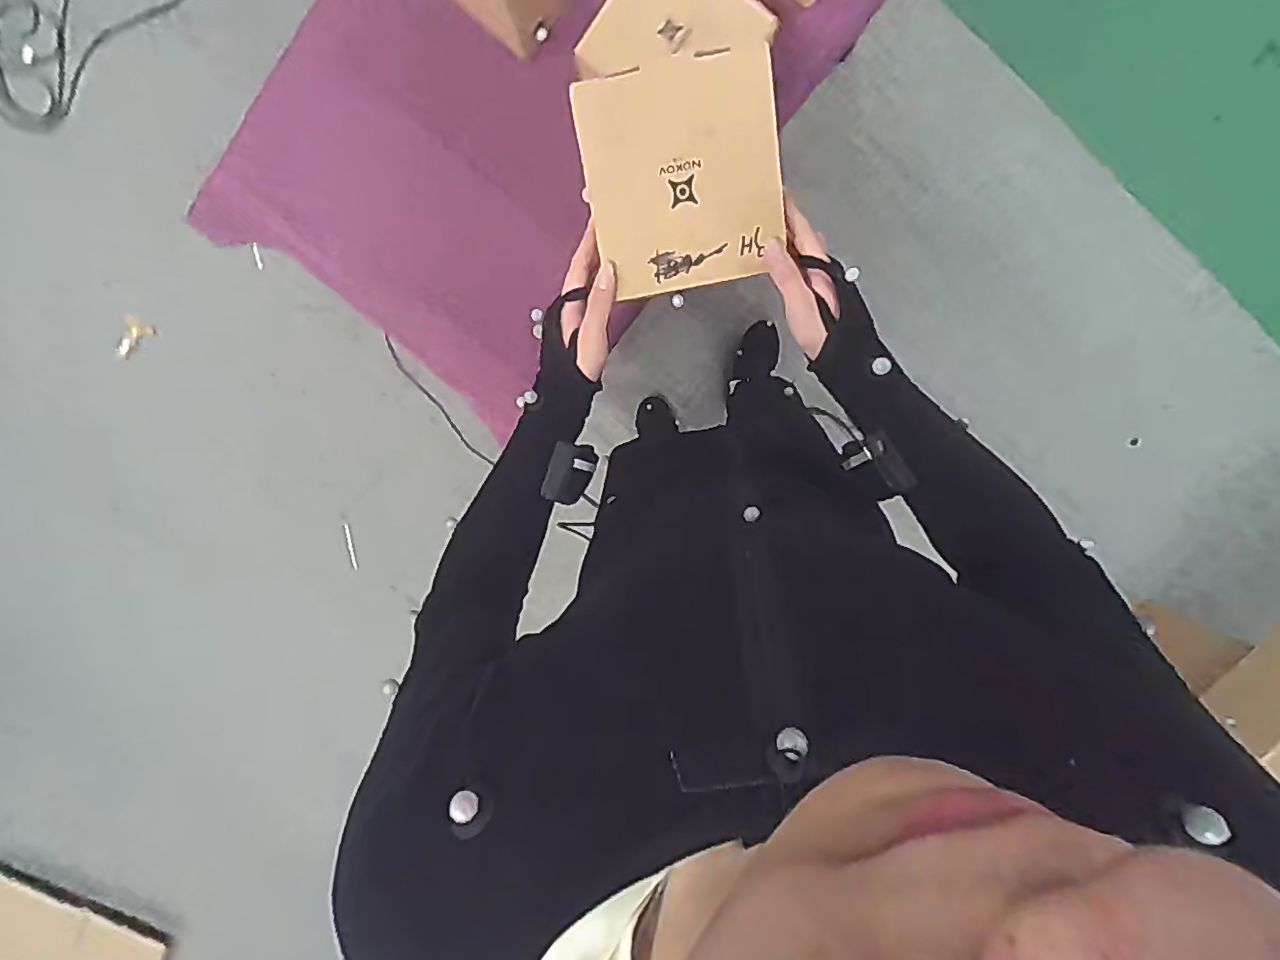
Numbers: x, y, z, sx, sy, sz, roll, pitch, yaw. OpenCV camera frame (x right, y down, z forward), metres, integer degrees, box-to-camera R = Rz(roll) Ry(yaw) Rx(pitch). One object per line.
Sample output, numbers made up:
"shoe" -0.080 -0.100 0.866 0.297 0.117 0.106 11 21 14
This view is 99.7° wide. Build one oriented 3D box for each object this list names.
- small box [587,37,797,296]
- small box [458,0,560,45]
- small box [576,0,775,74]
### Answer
"small box" 0.050 -0.285 0.535 0.168 0.176 0.179 -7 108 6
"small box" -0.181 -0.705 0.678 0.179 0.176 0.168 38 98 -5
"small box" 0.043 -0.530 0.706 0.179 0.176 0.168 37 99 -5
